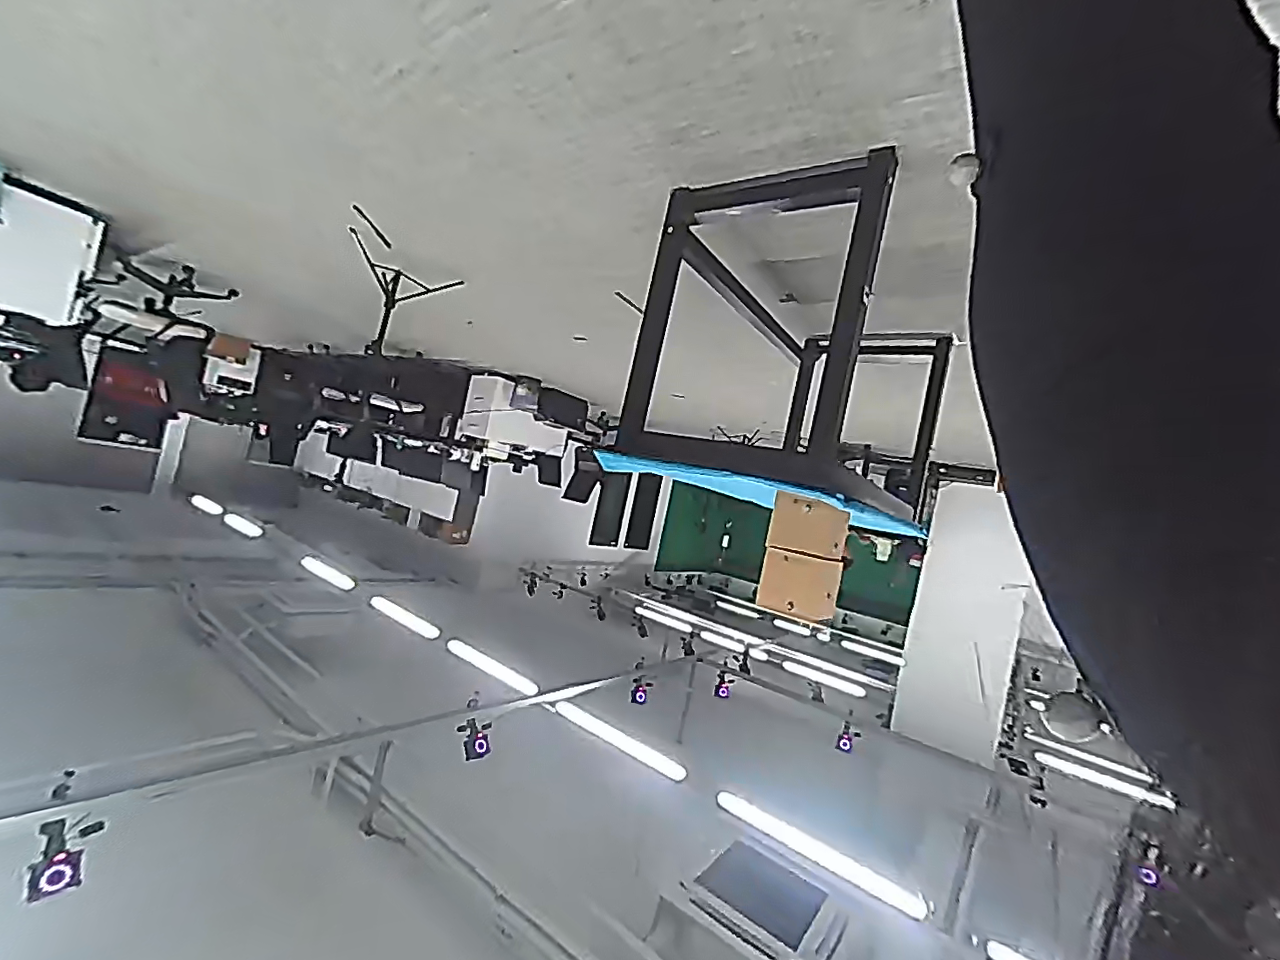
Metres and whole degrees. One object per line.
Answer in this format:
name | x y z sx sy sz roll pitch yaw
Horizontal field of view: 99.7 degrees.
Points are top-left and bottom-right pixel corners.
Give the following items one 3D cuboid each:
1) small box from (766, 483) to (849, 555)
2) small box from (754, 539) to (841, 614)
small box | 0.486 0.112 1.552 0.168 0.176 0.179 11 178 37
small box | 0.452 0.271 1.538 0.168 0.176 0.179 12 178 41
